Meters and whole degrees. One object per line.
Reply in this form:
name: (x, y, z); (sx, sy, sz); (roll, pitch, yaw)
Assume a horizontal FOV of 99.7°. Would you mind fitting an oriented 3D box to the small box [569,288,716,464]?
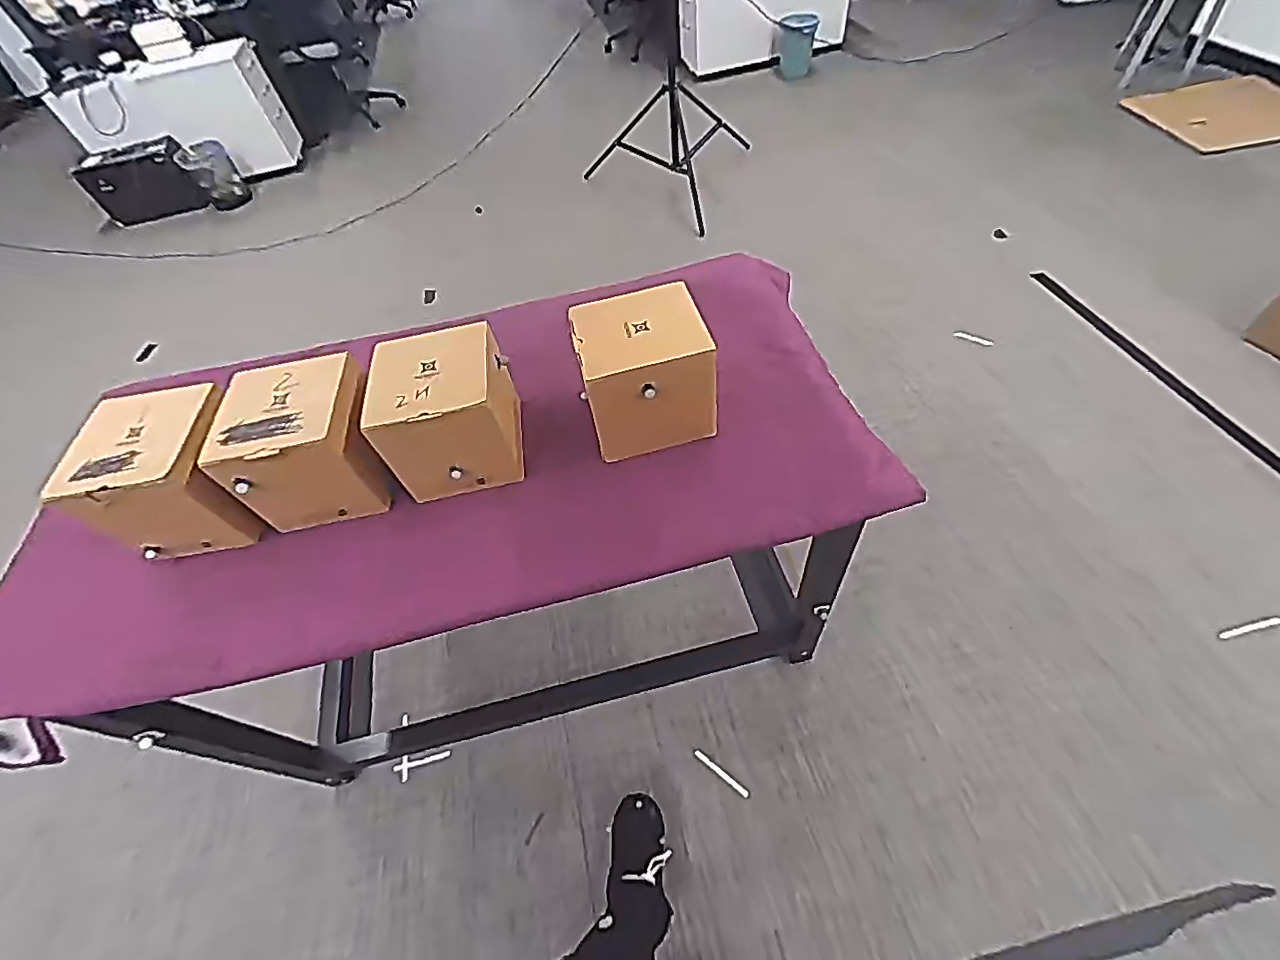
small box: (0.006, -0.150, 0.801); (0.179, 0.176, 0.168); (-15, 52, -2)
